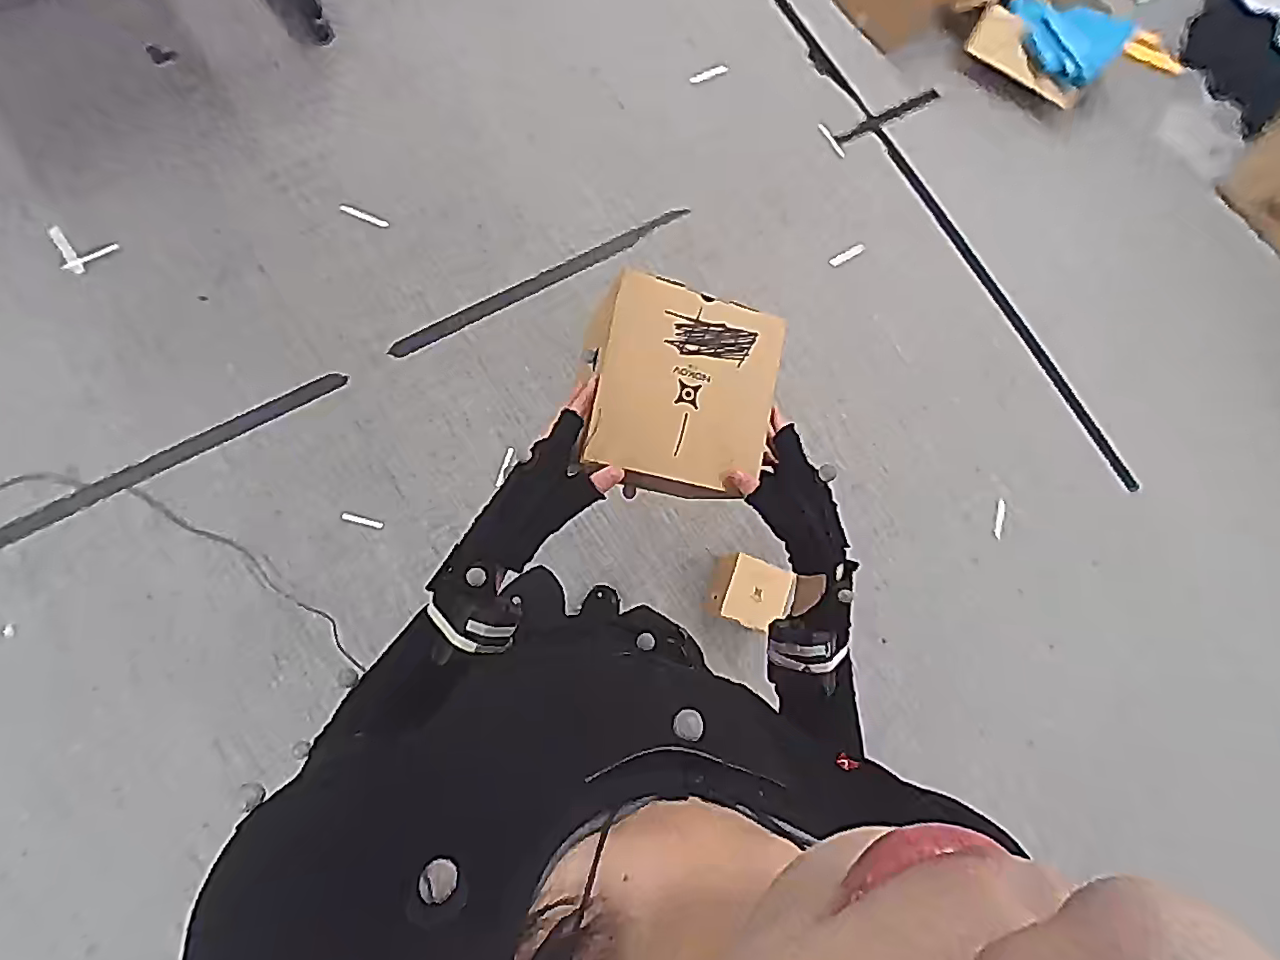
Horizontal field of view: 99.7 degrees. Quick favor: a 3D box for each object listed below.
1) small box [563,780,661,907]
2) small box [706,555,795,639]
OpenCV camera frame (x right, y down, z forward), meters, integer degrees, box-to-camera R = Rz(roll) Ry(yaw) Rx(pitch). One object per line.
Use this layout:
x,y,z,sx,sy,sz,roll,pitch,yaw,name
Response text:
-0.076,0.870,1.324,0.168,0.176,0.179,-39,87,-14,small box
0.297,0.320,1.494,0.168,0.176,0.179,22,76,-6,small box
